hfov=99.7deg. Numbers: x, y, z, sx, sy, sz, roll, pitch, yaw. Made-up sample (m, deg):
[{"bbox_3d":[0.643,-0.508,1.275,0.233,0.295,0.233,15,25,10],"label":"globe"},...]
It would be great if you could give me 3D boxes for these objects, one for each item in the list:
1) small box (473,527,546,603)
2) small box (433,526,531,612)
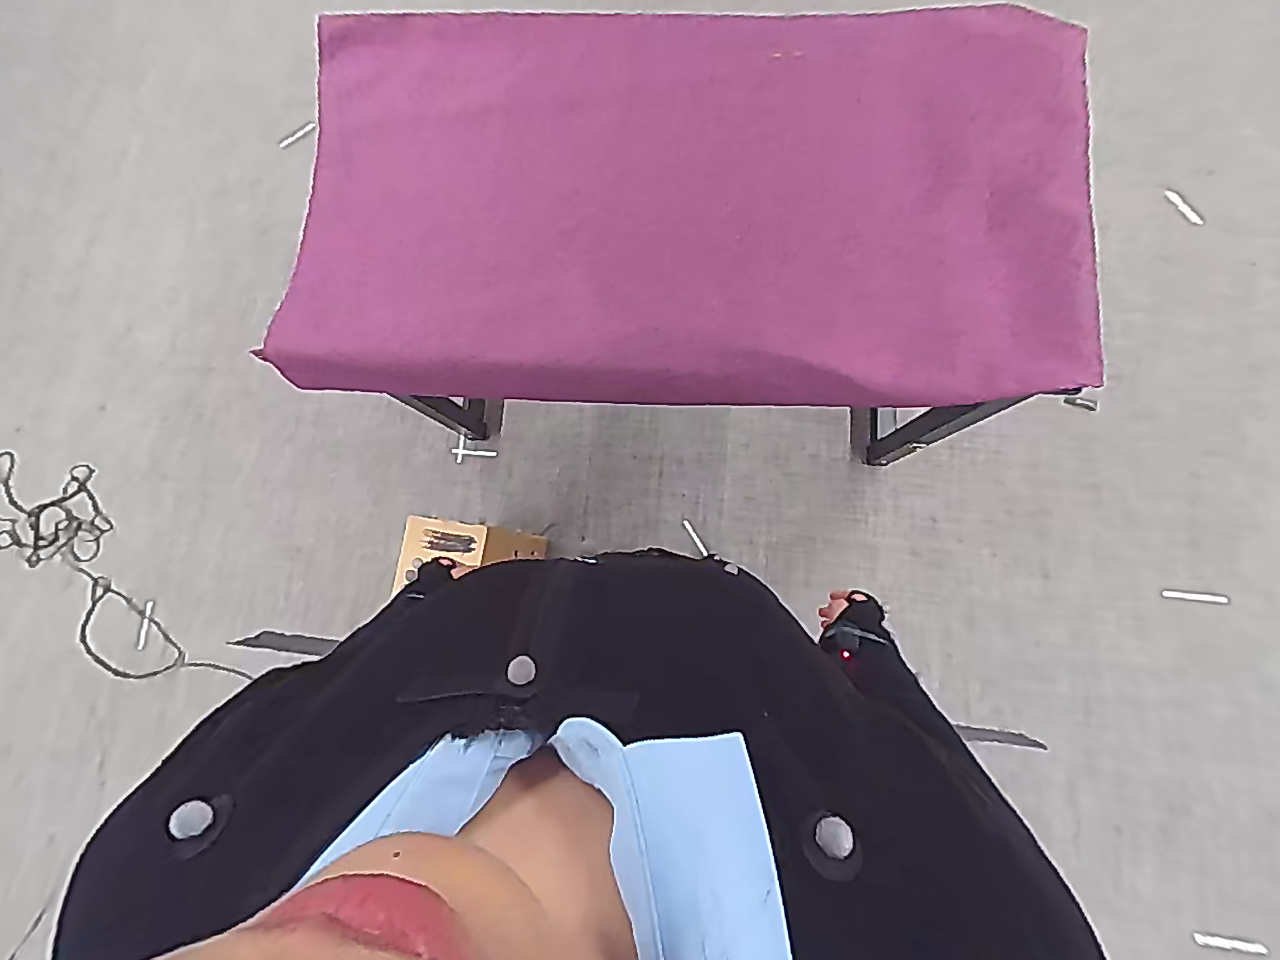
[{"bbox_3d":[-0.361,0.230,1.449,0.168,0.176,0.179,11,82,5],"label":"small box"},{"bbox_3d":[-0.365,0.210,1.285,0.168,0.176,0.179,6,82,5],"label":"small box"}]
